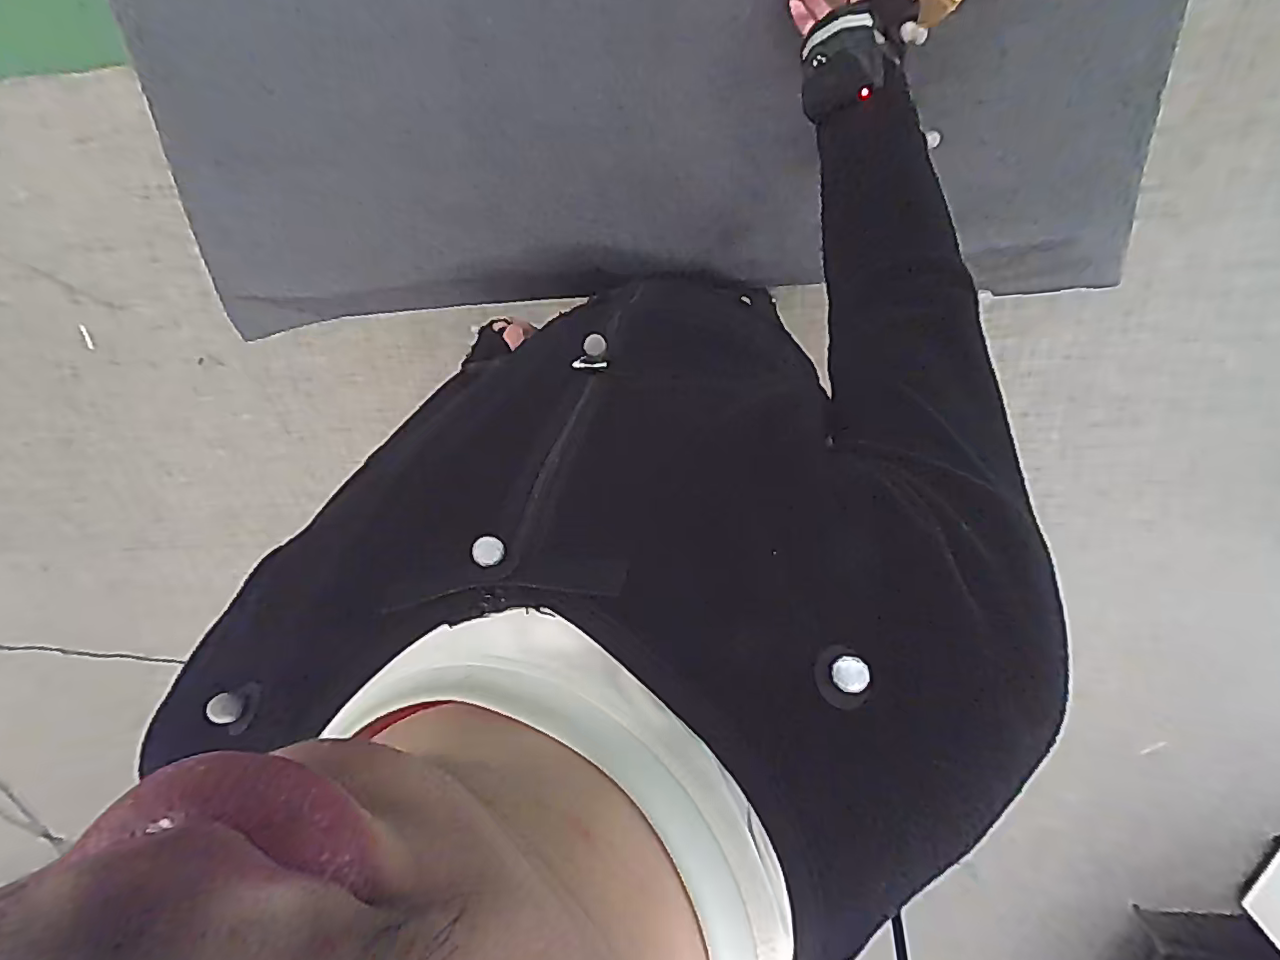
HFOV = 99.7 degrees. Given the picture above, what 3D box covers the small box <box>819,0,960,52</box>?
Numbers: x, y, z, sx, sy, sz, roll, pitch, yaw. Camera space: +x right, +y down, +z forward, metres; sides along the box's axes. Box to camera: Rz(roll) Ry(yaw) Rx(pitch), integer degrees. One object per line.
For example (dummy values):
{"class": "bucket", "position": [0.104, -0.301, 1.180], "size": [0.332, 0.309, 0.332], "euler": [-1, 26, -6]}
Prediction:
{"class": "small box", "position": [0.253, -0.549, 0.501], "size": [0.168, 0.176, 0.179], "euler": [28, 115, -9]}
